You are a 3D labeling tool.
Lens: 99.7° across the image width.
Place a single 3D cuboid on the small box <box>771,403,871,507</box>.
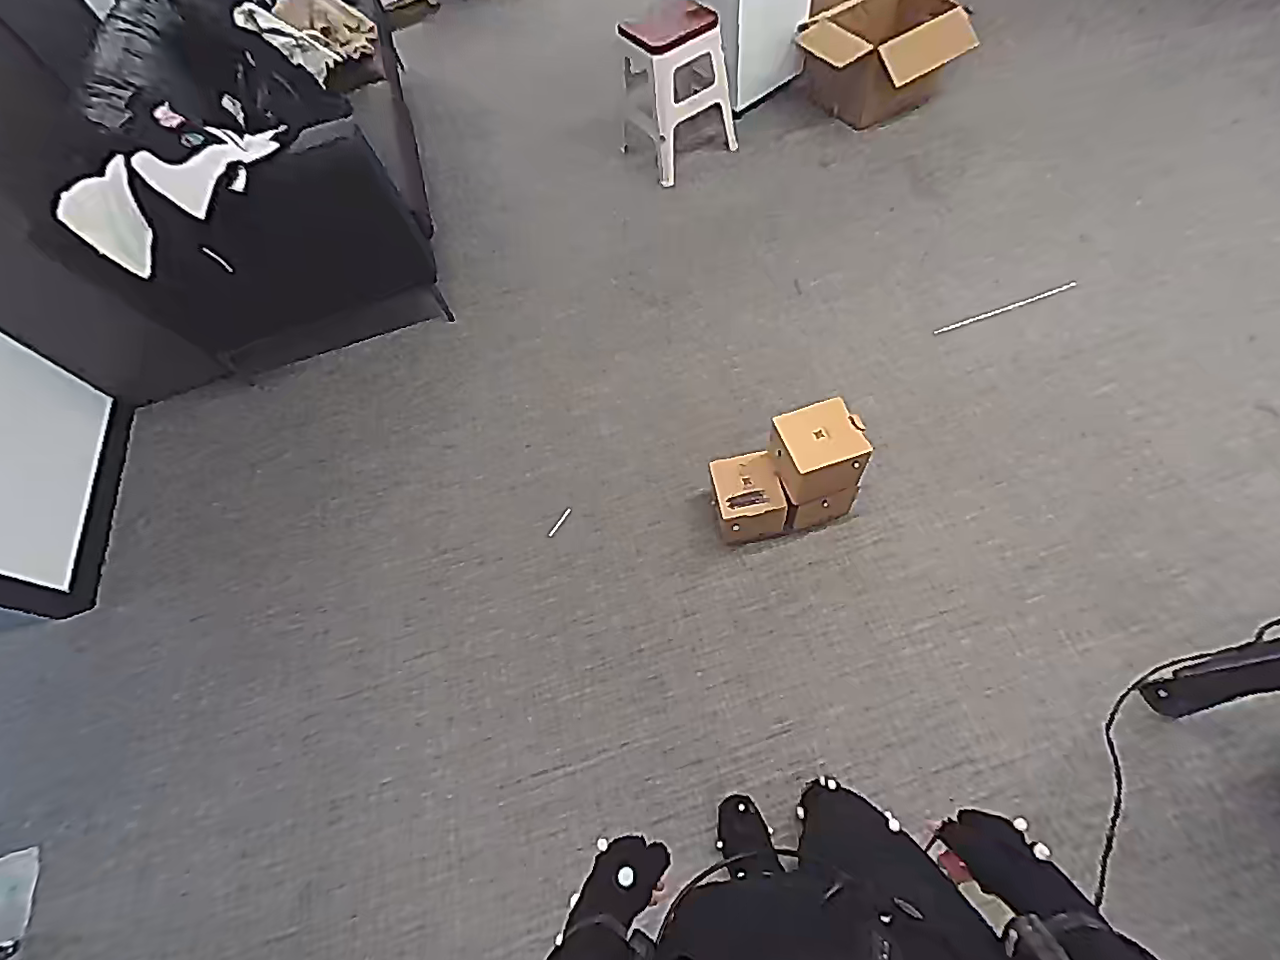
[{"bbox_3d":[0.431,-0.055,1.322,0.179,0.176,0.168,-19,60,-1],"label":"small box"}]
